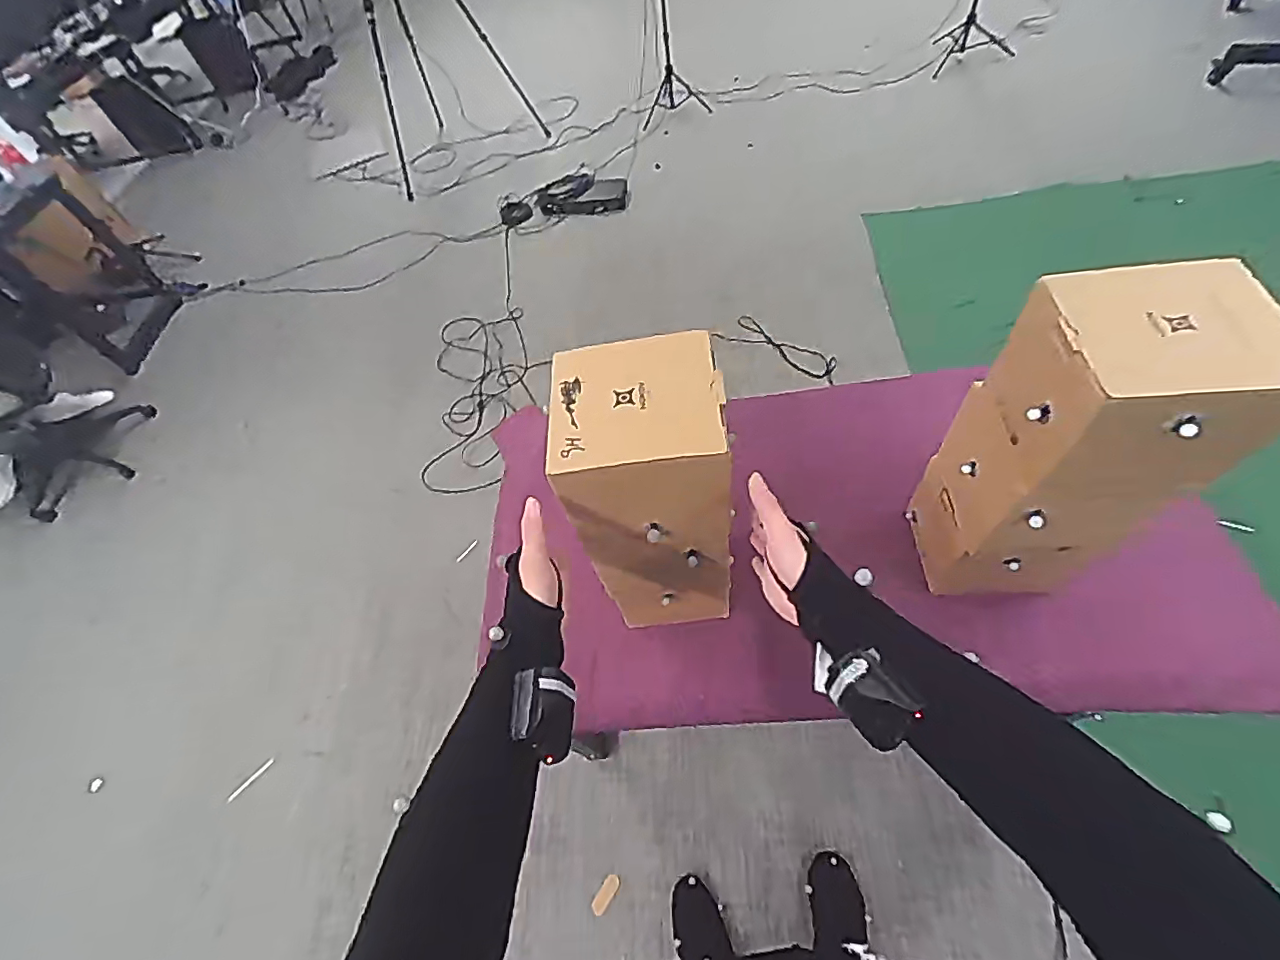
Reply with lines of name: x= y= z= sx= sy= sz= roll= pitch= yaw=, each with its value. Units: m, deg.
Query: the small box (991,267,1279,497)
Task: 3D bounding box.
small box: x=0.496 y=-0.092 z=0.561 sx=0.179 sy=0.176 sz=0.168 roll=-2 pitch=57 yaw=9

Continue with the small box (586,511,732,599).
small box: x=0.030 y=0.055 z=0.748 sx=0.179 sy=0.176 sz=0.168 roll=-6 pitch=56 yaw=6

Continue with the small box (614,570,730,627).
small box: x=0.051 y=0.133 z=0.892 sx=0.179 sy=0.176 sz=0.168 roll=-8 pitch=56 yaw=6

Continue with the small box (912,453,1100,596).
small box: x=0.543 y=0.073 z=0.840 sx=0.179 sy=0.176 sz=0.168 roll=-3 pitch=56 yaw=8

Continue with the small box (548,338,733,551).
small box: x=0.006 y=-0.033 z=0.610 sx=0.179 sy=0.176 sz=0.168 roll=-6 pitch=55 yaw=5
